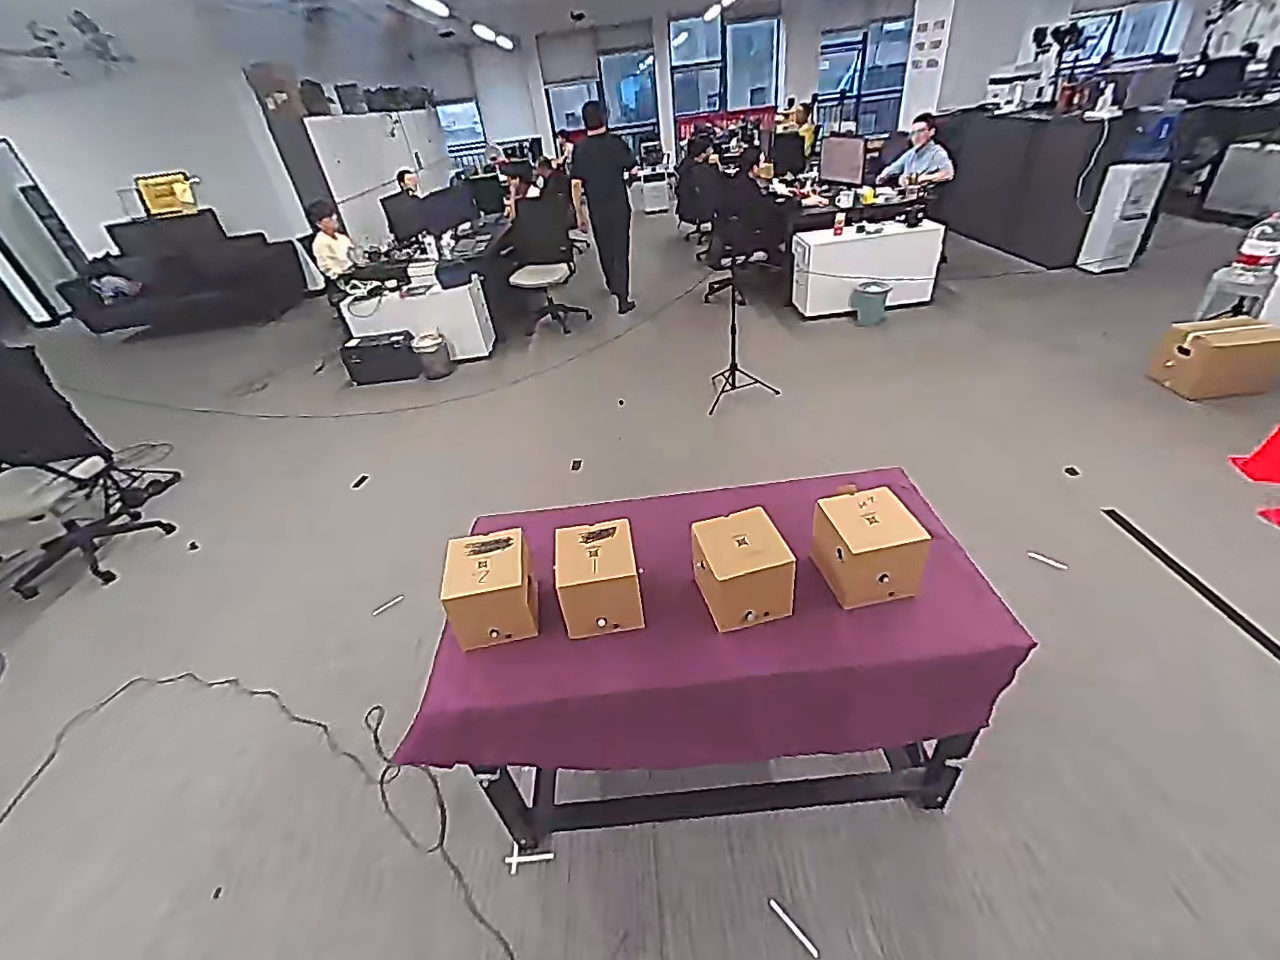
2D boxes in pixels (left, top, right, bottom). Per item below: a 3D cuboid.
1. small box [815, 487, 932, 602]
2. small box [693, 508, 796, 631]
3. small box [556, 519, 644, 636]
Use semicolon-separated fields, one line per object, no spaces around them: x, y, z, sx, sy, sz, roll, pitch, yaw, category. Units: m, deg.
0.491;0.143;1.165;0.168;0.176;0.179;-10;35;-3;small box
0.218;0.189;1.158;0.168;0.176;0.179;-13;36;-6;small box
-0.086;0.212;1.183;0.168;0.176;0.179;-9;36;-1;small box
